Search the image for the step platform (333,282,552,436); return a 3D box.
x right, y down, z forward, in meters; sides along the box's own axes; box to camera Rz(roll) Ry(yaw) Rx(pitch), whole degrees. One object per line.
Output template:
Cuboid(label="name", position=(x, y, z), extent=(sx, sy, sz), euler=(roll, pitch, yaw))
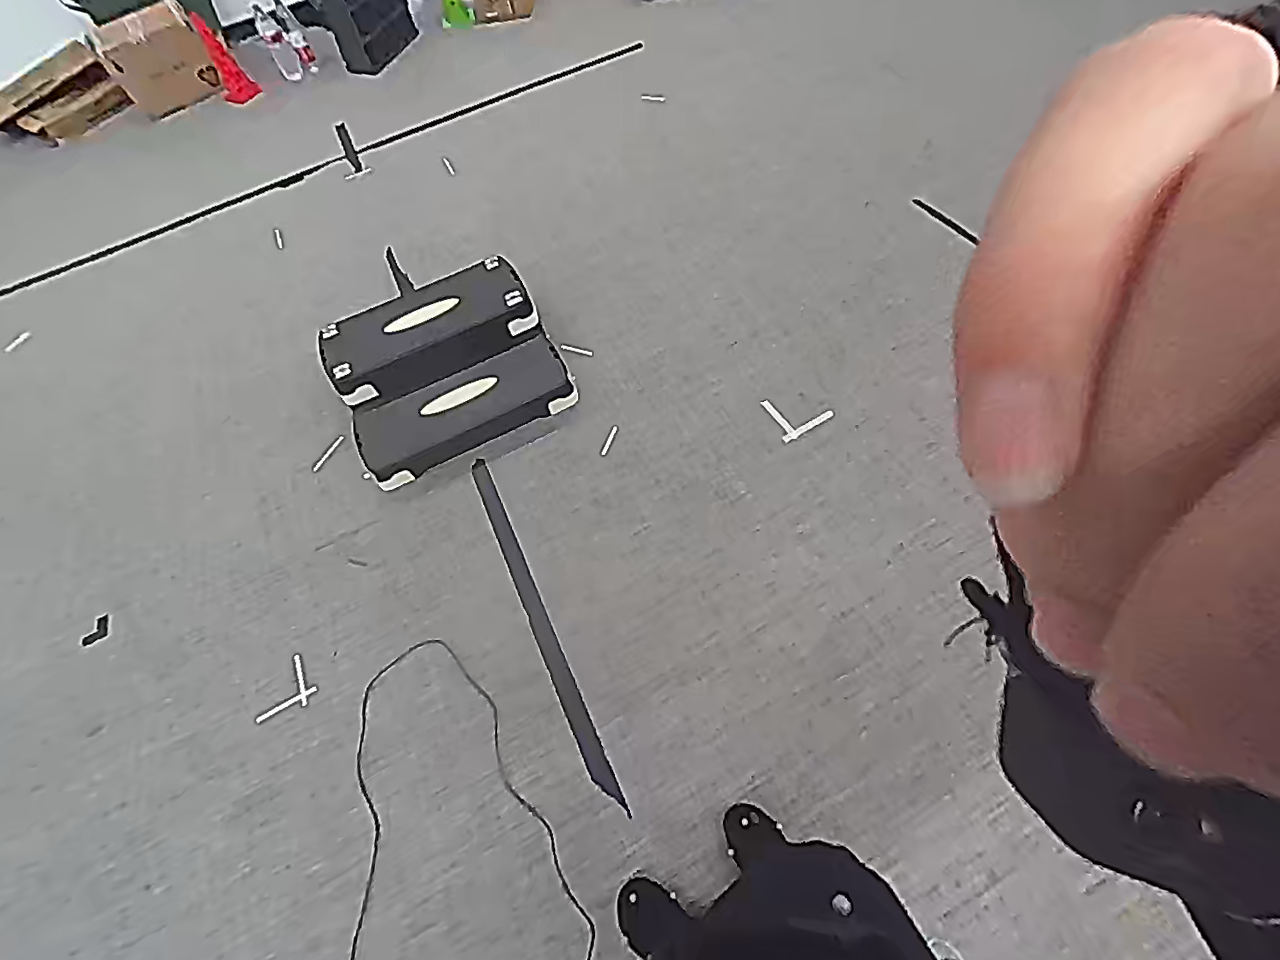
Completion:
Cuboid(label="step platform", position=(-0.658, -0.414, 1.815), extent=(0.684, 0.204, 0.286), euler=(-23, 59, -7))
